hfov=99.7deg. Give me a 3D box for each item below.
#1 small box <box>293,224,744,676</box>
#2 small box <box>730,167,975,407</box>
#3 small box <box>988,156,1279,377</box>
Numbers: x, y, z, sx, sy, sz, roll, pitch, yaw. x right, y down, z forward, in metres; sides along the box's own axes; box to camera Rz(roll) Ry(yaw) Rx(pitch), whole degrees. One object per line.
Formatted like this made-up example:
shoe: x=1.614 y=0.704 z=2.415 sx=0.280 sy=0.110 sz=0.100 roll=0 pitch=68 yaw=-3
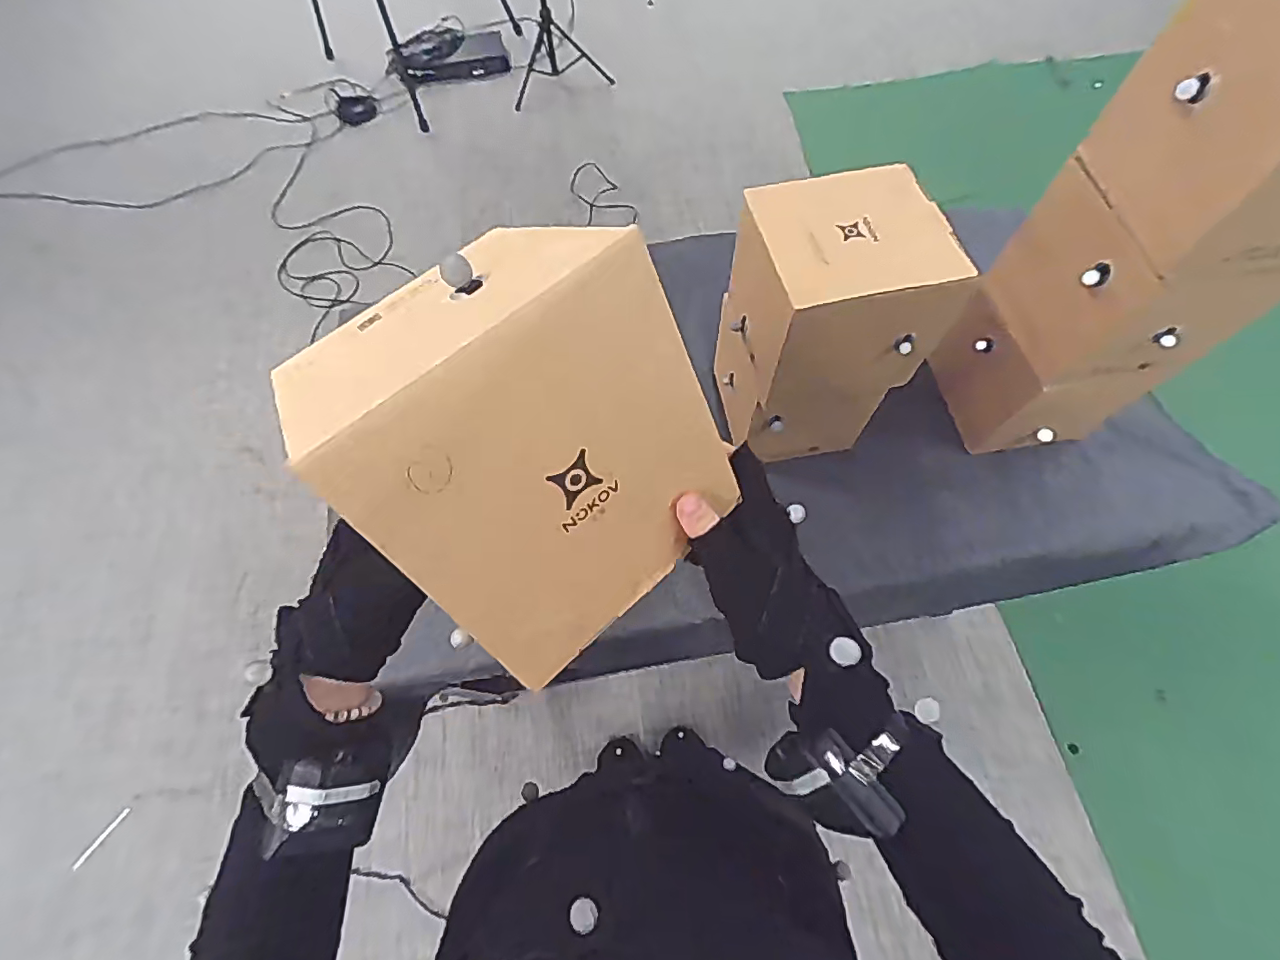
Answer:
small box: x=-0.071 y=-0.029 z=0.324 sx=0.168 sy=0.179 sz=0.176 roll=-41 pitch=40 yaw=-15
small box: x=0.209 y=-0.201 z=0.592 sx=0.179 sy=0.176 sz=0.168 roll=-11 pitch=64 yaw=-3
small box: x=0.529 y=-0.227 z=0.589 sx=0.168 sy=0.176 sz=0.179 roll=-7 pitch=65 yaw=-1
